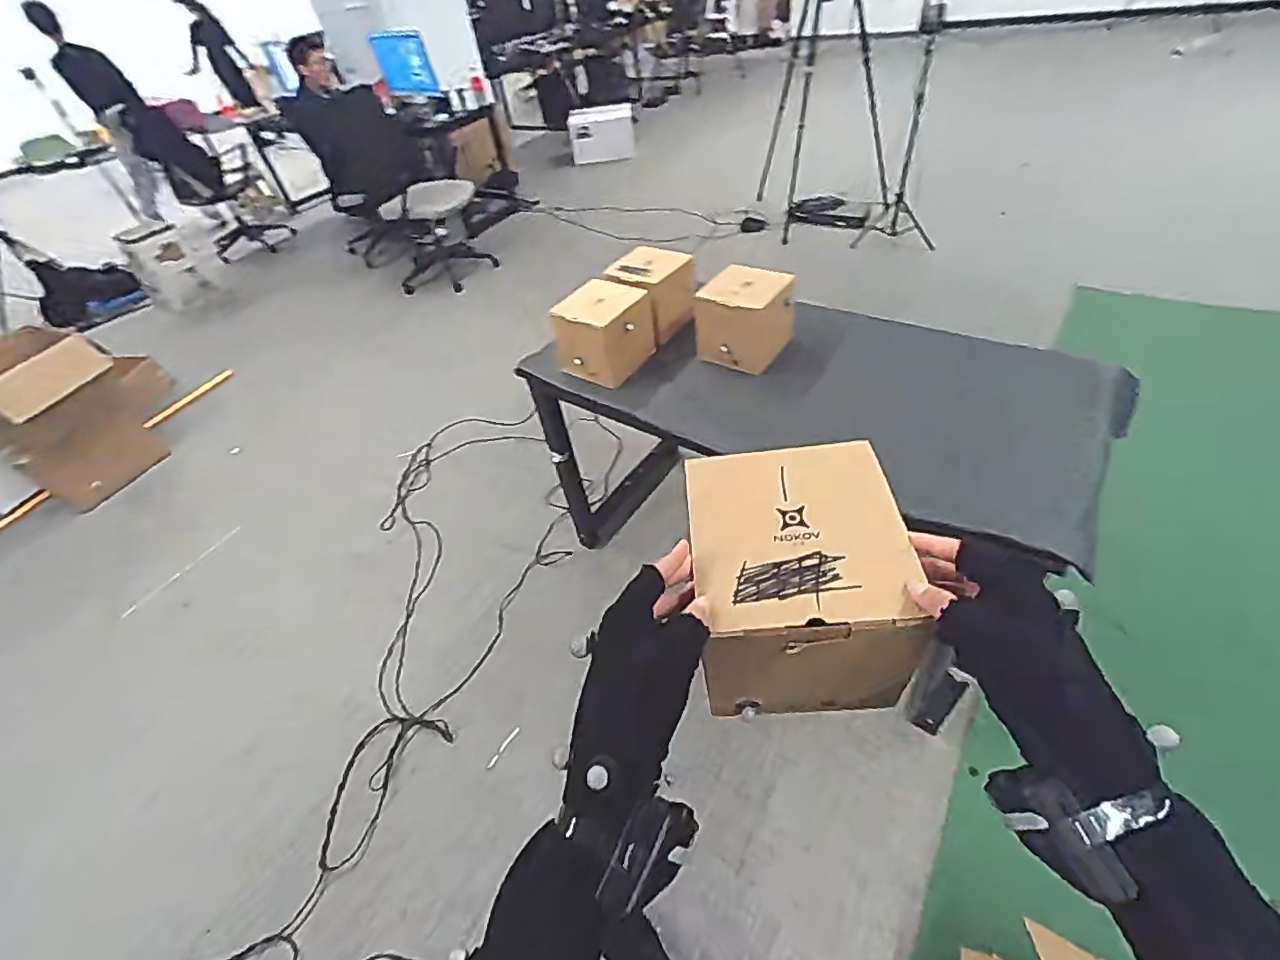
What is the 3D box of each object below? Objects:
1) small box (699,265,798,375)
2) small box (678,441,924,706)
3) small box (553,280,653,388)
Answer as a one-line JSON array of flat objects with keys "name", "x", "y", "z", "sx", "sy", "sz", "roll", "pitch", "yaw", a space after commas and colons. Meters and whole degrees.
[{"name": "small box", "x": 0.252, "y": -0.378, "z": 1.274, "sx": 0.168, "sy": 0.176, "sz": 0.179, "roll": 24, "pitch": 54, "yaw": 29}, {"name": "small box", "x": 0.128, "y": 0.092, "z": 0.490, "sx": 0.168, "sy": 0.176, "sz": 0.179, "roll": -6, "pitch": 47, "yaw": 6}, {"name": "small box", "x": -0.081, "y": -0.352, "z": 1.302, "sx": 0.168, "sy": 0.176, "sz": 0.179, "roll": 24, "pitch": 55, "yaw": 29}]
